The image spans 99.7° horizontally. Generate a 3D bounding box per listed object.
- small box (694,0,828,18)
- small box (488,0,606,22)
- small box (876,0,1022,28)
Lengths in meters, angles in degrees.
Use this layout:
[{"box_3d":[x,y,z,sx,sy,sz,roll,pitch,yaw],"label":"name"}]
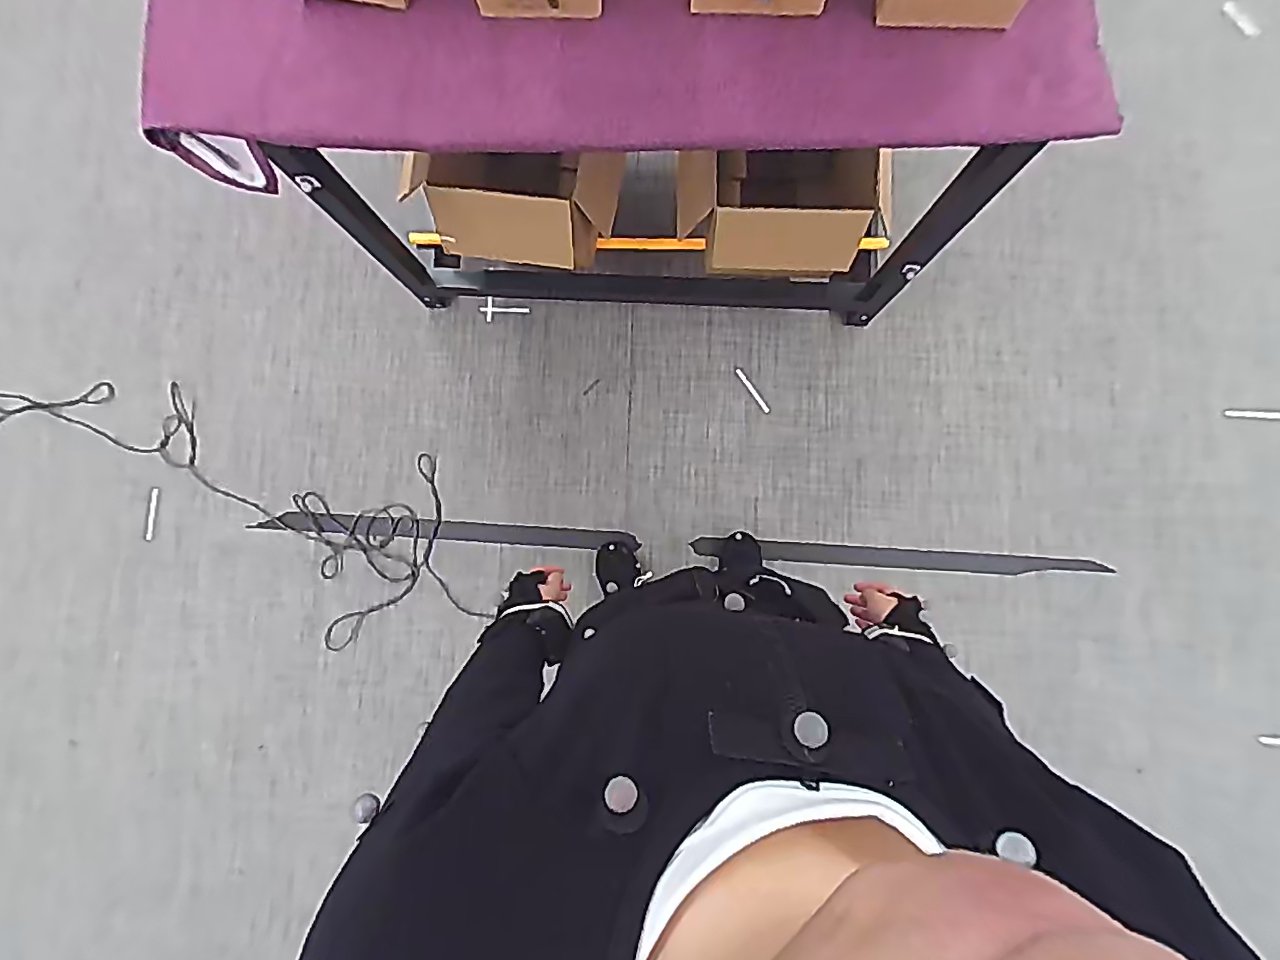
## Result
[{"box_3d":[0.161,-0.714,0.654,0.179,0.176,0.168,4,84,3],"label":"small box"},{"box_3d":[-0.127,-0.725,0.668,0.168,0.176,0.179,2,85,2],"label":"small box"},{"box_3d":[0.406,-0.688,0.645,0.179,0.176,0.168,3,83,2],"label":"small box"}]
